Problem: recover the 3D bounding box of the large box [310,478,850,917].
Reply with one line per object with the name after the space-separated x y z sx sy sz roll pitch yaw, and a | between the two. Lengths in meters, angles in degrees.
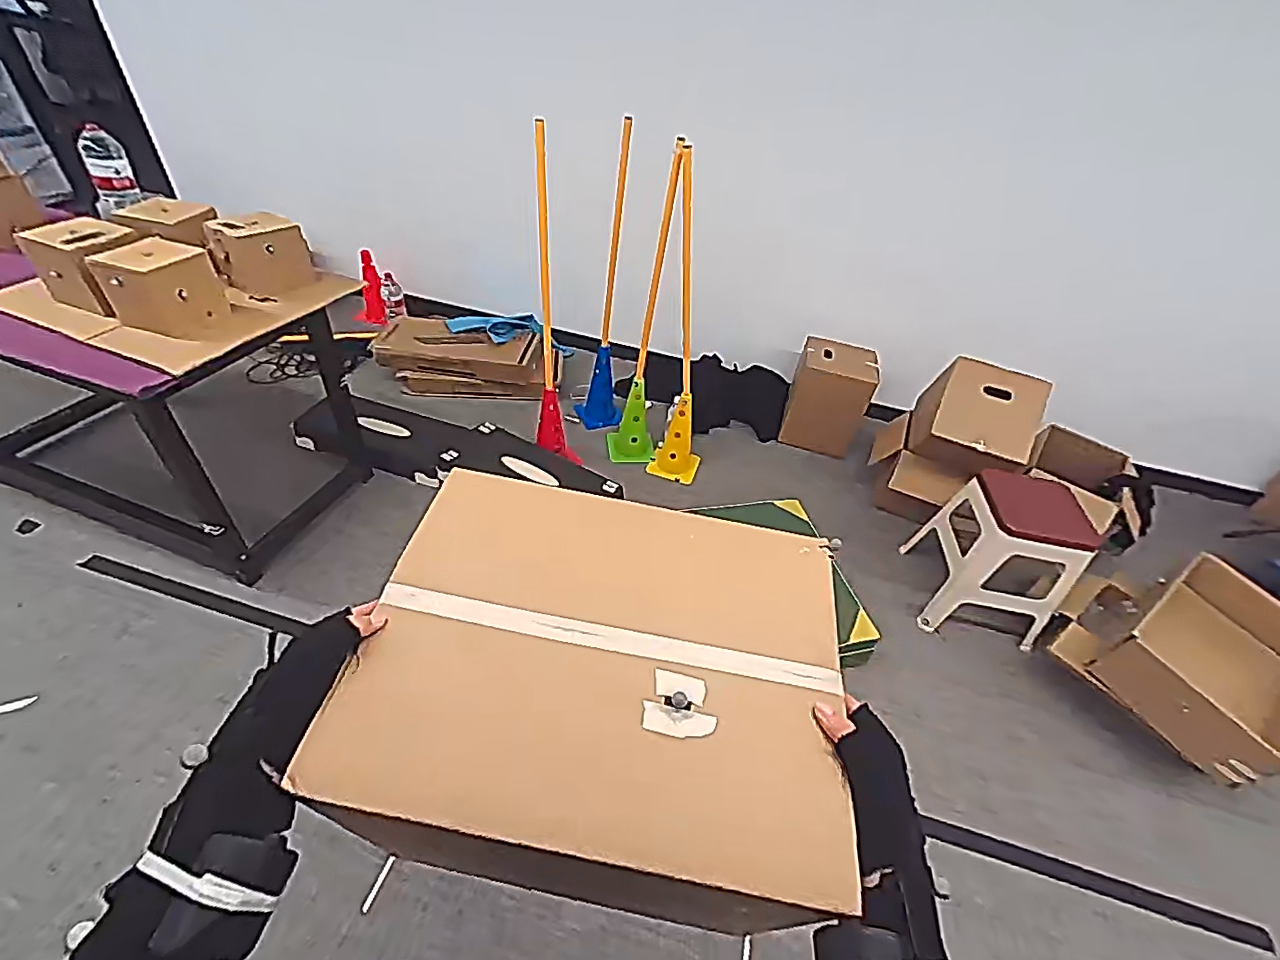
-0.041 0.240 0.593 0.408 0.320 0.320 11 49 2 | large box
